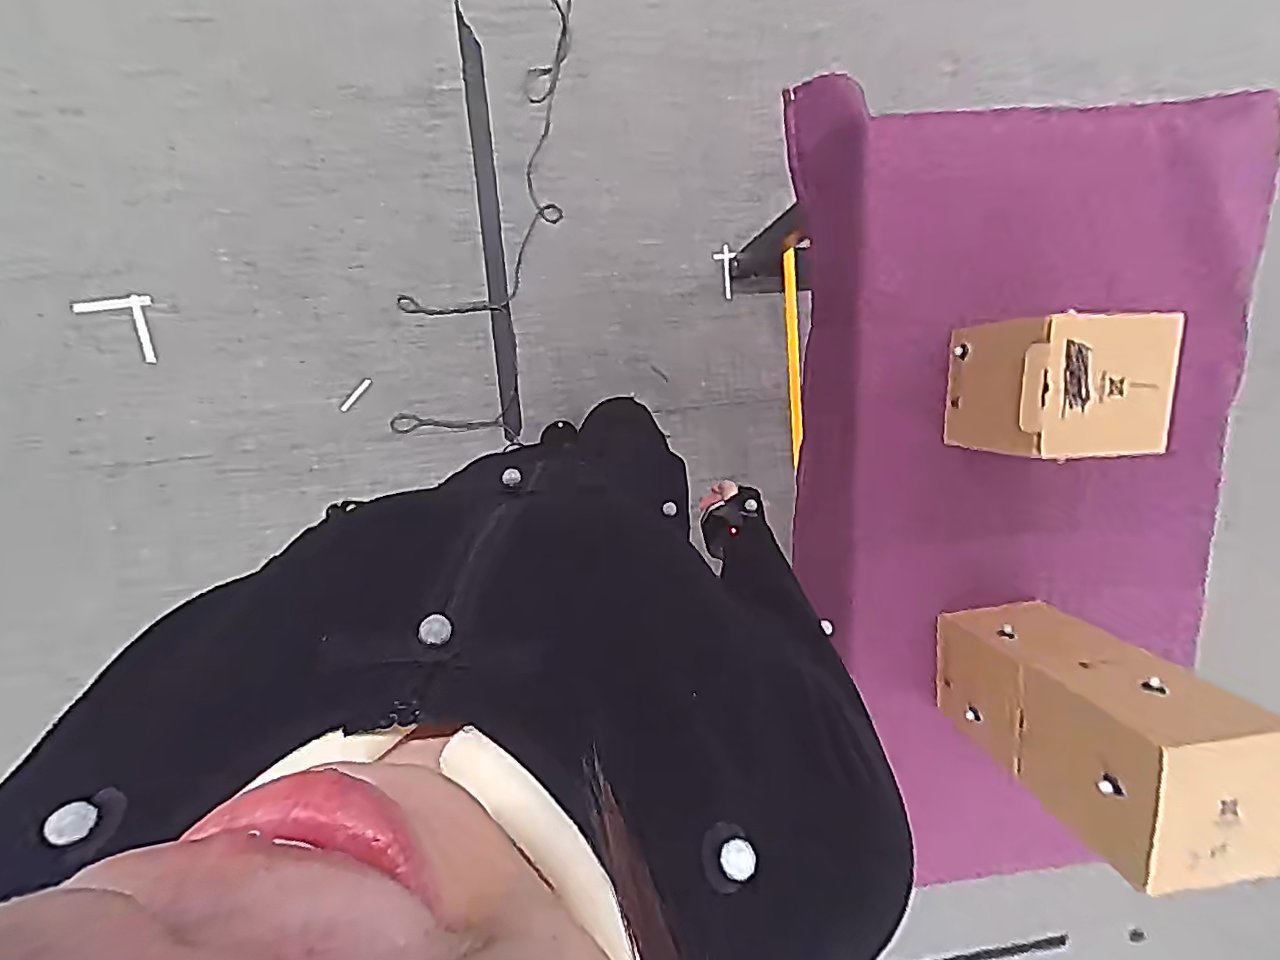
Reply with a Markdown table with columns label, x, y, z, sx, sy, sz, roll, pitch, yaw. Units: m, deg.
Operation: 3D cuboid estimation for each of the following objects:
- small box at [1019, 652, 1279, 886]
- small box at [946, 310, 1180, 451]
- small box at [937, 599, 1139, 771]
| label | x | y | z | sx | sy | sz | roll | pitch | yaw |
| --- | --- | --- | --- | --- | --- | --- | --- | --- | --- |
| small box | 0.584 | 0.317 | 0.631 | 0.168 | 0.176 | 0.179 | -4 | 101 | -5 |
| small box | 0.539 | -0.128 | 0.715 | 0.179 | 0.176 | 0.168 | -2 | 100 | -7 |
| small box | 0.565 | 0.288 | 0.791 | 0.179 | 0.176 | 0.168 | -6 | 101 | -6 |
